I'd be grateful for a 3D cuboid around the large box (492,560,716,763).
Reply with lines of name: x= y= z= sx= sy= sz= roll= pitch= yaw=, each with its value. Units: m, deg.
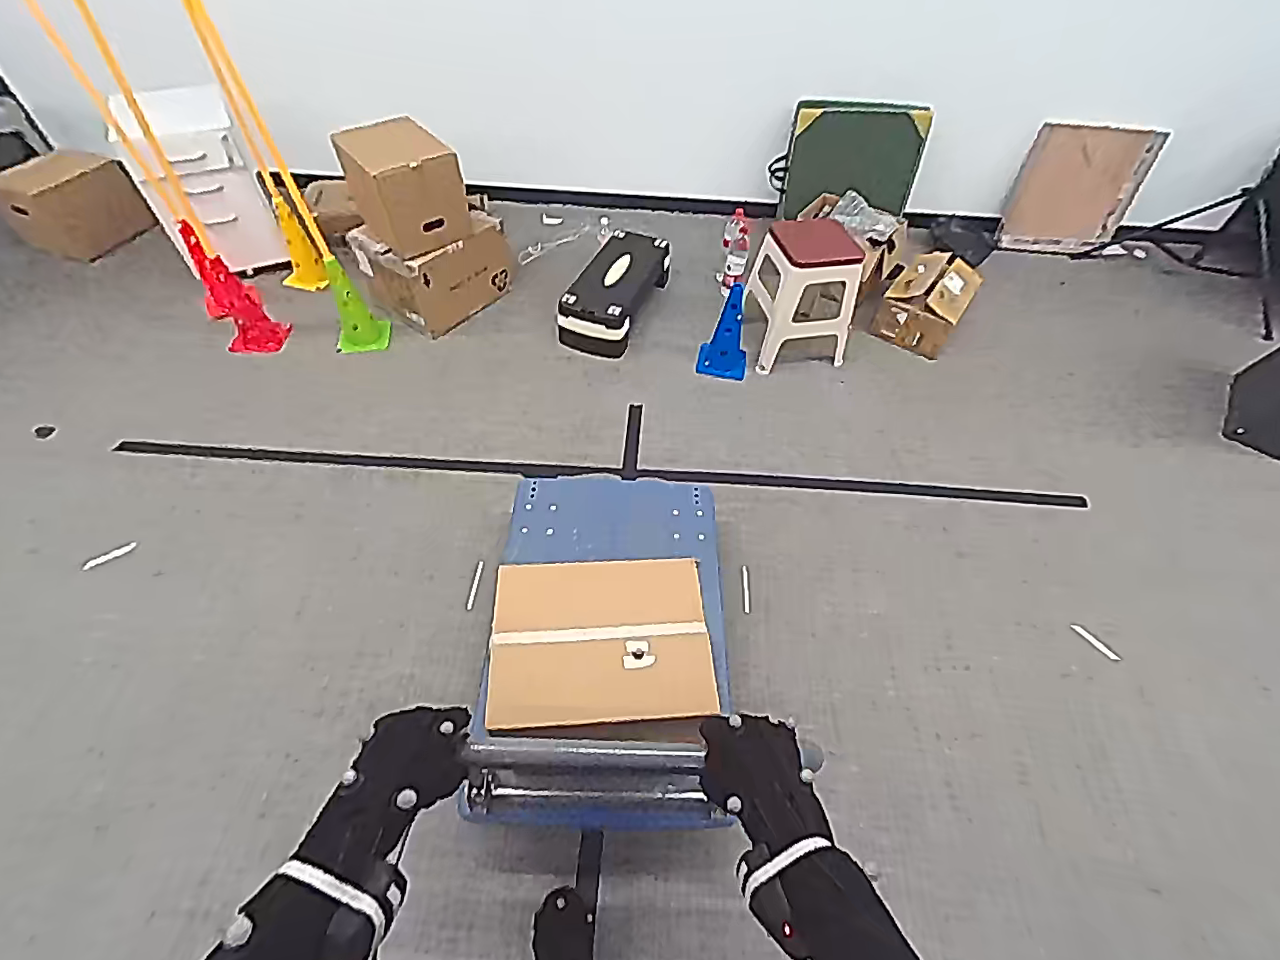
large box: x=-0.083 y=0.388 z=1.151 sx=0.408 sy=0.320 sz=0.320 roll=-1 pitch=52 yaw=-6
